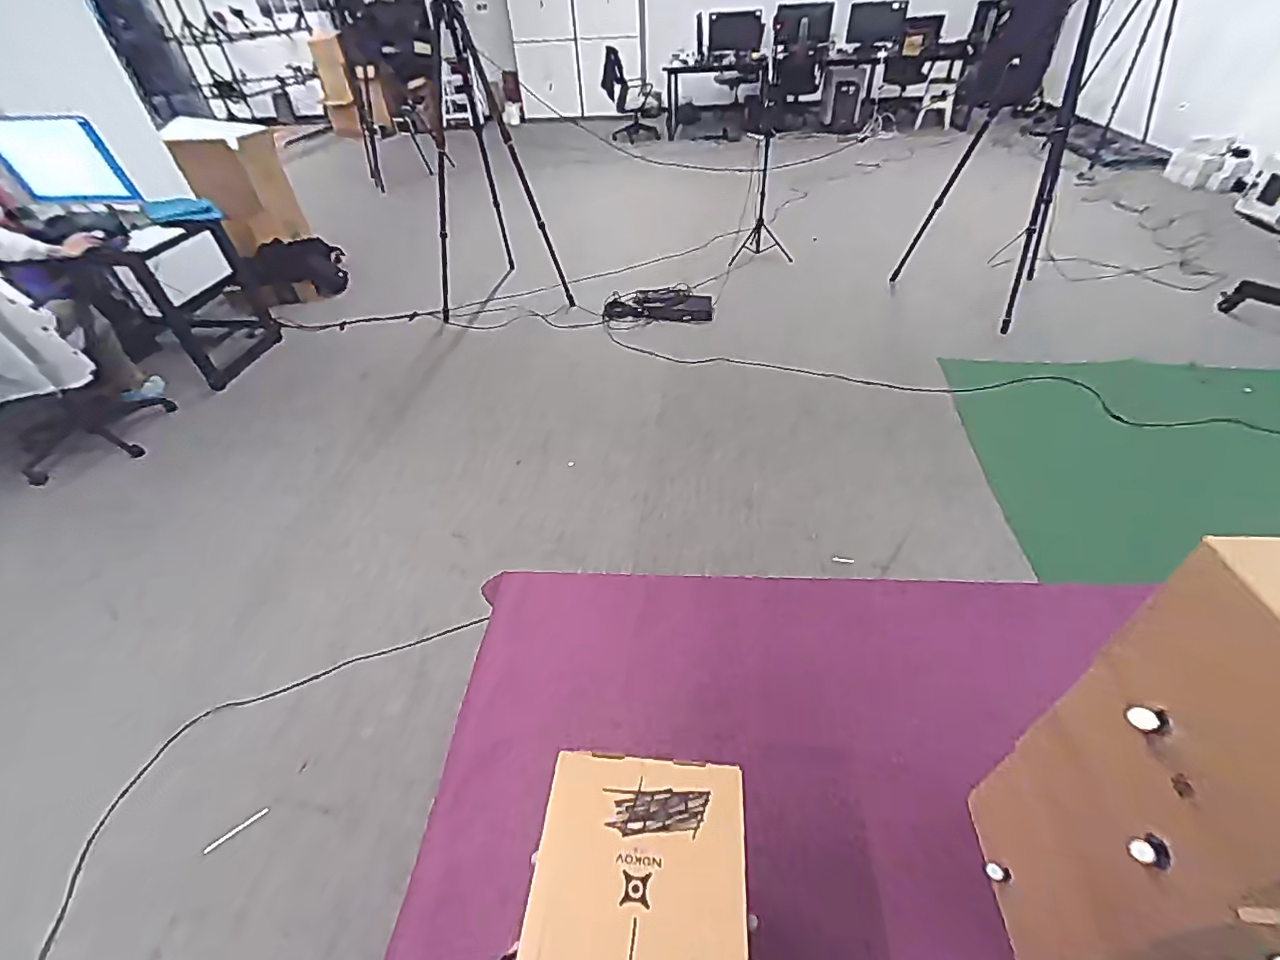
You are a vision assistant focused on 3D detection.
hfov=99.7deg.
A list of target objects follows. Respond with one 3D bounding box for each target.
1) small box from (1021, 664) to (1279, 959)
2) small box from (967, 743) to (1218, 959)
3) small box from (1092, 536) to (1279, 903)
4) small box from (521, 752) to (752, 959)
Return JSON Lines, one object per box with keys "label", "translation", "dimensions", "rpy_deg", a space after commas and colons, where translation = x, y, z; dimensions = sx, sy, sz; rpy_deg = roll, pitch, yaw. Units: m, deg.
{"label": "small box", "translation": [0.465, 0.277, 0.447], "dimensions": [0.168, 0.176, 0.179], "rpy_deg": [2, 43, 6]}
{"label": "small box", "translation": [0.477, 0.398, 0.559], "dimensions": [0.168, 0.176, 0.179], "rpy_deg": [2, 44, 6]}
{"label": "small box", "translation": [0.453, 0.154, 0.341], "dimensions": [0.179, 0.176, 0.168], "rpy_deg": [1, 42, 6]}
{"label": "small box", "translation": [0.005, 0.366, 0.468], "dimensions": [0.168, 0.176, 0.179], "rpy_deg": [2, 43, 6]}
